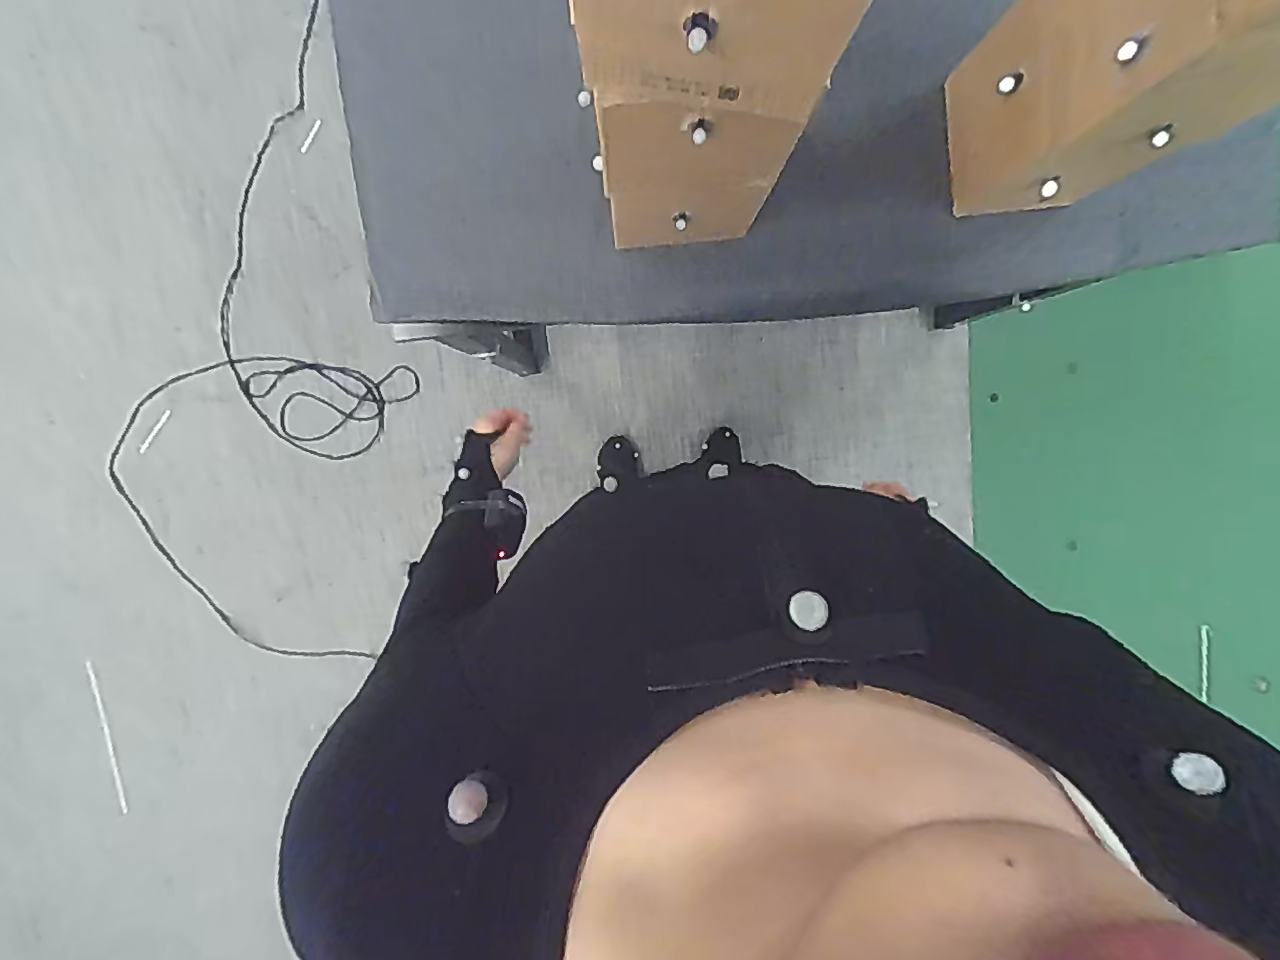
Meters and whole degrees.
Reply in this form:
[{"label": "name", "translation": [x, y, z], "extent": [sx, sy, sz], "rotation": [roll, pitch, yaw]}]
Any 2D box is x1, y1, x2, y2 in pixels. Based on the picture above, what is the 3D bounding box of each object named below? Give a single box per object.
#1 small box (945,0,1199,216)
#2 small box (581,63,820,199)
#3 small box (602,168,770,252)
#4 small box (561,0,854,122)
[{"label": "small box", "translation": [0.484, -0.428, 0.630], "extent": [0.168, 0.176, 0.179], "rotation": [-6, 94, 0]}, {"label": "small box", "translation": [0.040, -0.363, 0.468], "extent": [0.179, 0.176, 0.168], "rotation": [-4, 96, -1]}, {"label": "small box", "translation": [0.041, -0.380, 0.629], "extent": [0.179, 0.176, 0.168], "rotation": [-5, 95, 1]}, {"label": "small box", "translation": [0.046, -0.341, 0.304], "extent": [0.168, 0.176, 0.179], "rotation": [8, 95, -2]}]
